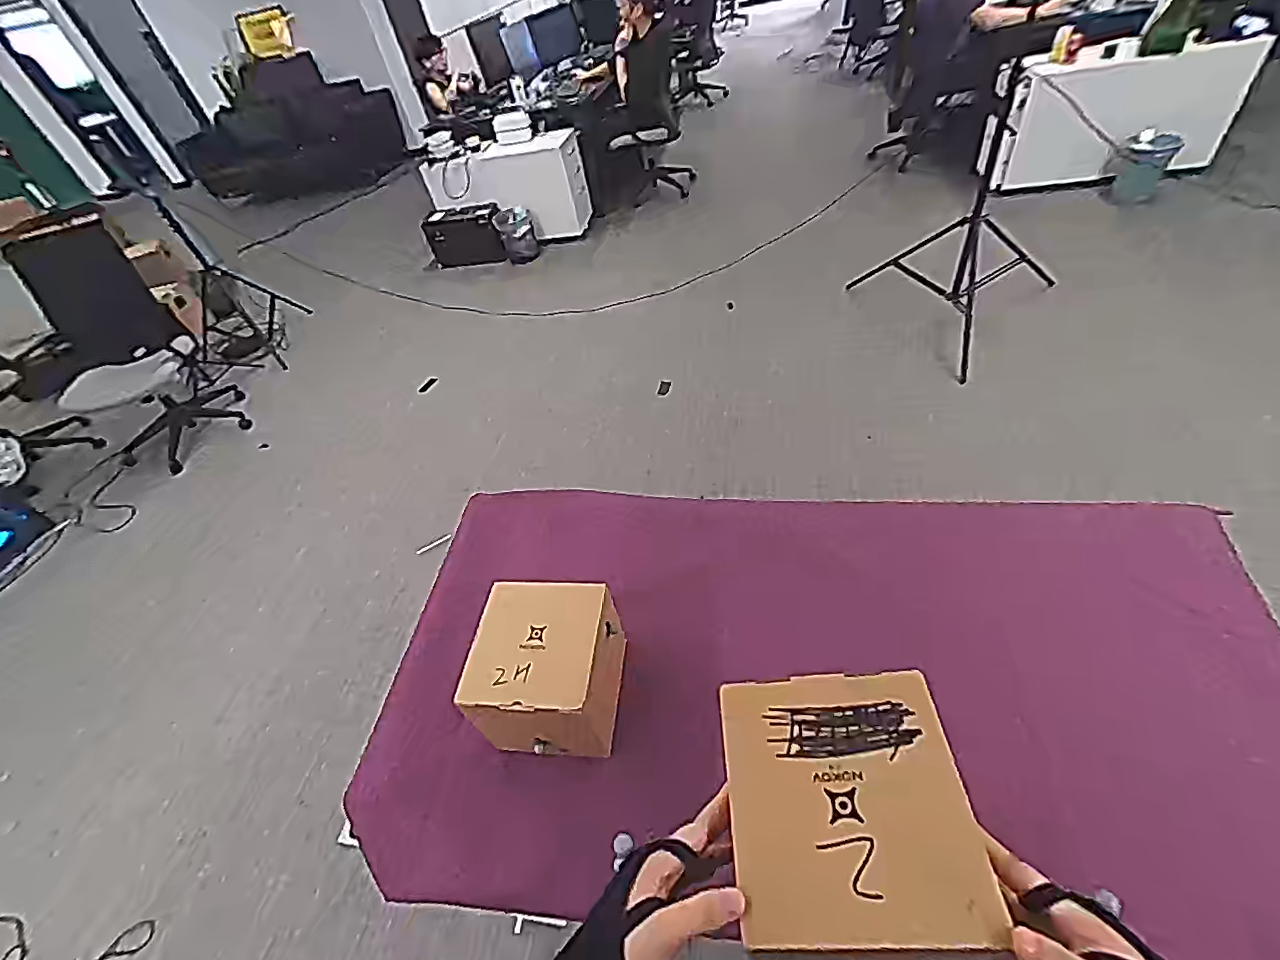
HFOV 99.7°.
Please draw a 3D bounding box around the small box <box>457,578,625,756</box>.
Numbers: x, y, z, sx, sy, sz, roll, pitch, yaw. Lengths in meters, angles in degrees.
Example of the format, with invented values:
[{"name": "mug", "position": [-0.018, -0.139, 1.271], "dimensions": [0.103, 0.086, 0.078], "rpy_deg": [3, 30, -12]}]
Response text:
[{"name": "small box", "position": [-0.120, 0.255, 0.745], "dimensions": [0.168, 0.176, 0.179], "rpy_deg": [-1, 47, 11]}]
